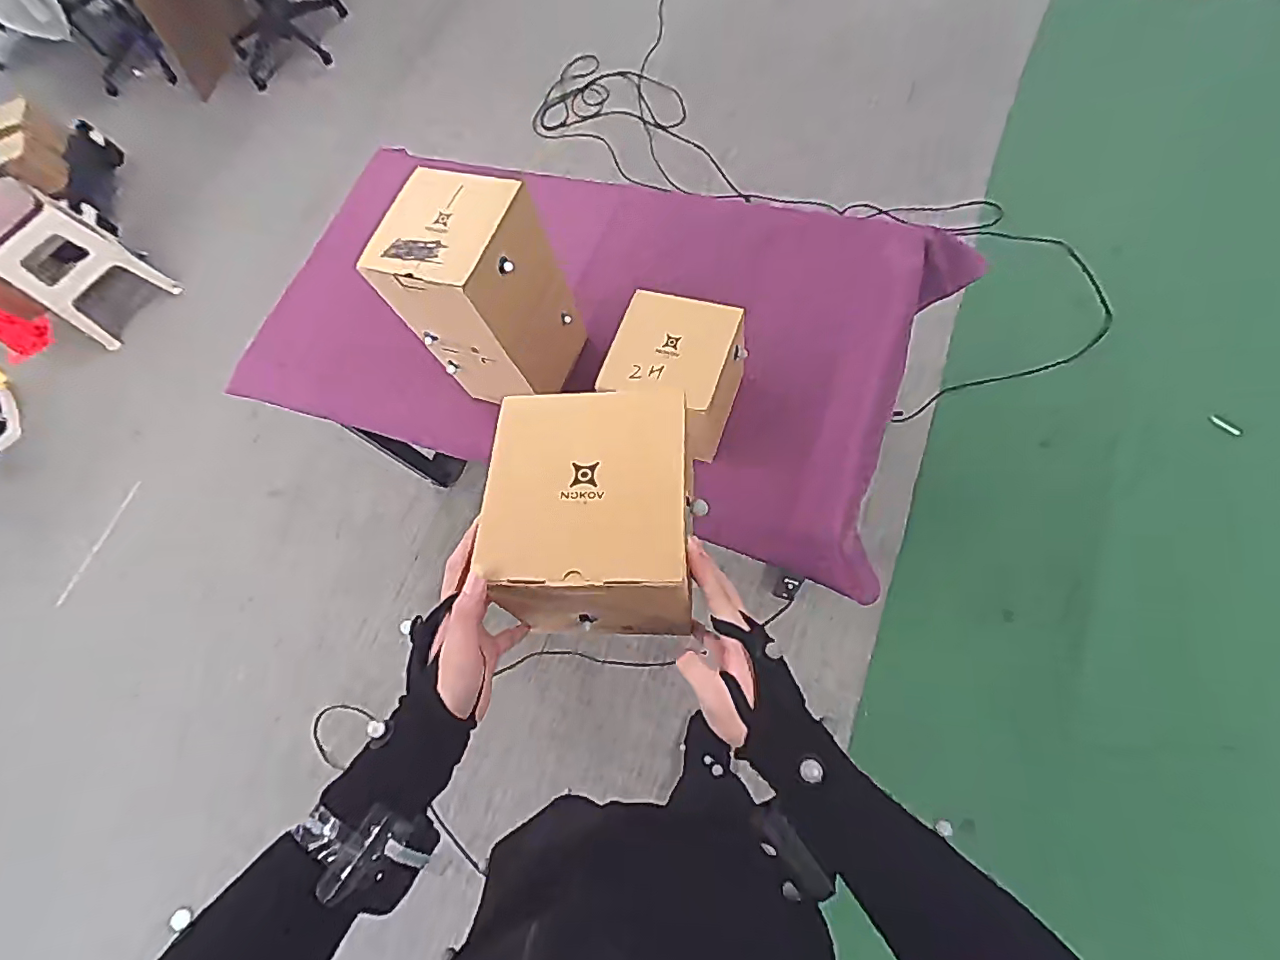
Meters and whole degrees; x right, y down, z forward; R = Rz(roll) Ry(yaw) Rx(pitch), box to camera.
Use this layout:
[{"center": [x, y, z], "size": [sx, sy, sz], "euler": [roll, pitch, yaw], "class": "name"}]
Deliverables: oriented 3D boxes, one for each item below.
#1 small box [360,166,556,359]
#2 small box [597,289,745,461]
[{"center": [-0.238, -0.296, 0.757], "size": [0.168, 0.176, 0.179], "euler": [17, 72, 15], "class": "small box"}, {"center": [0.055, -0.155, 0.829], "size": [0.168, 0.176, 0.179], "euler": [17, 73, 16], "class": "small box"}]
